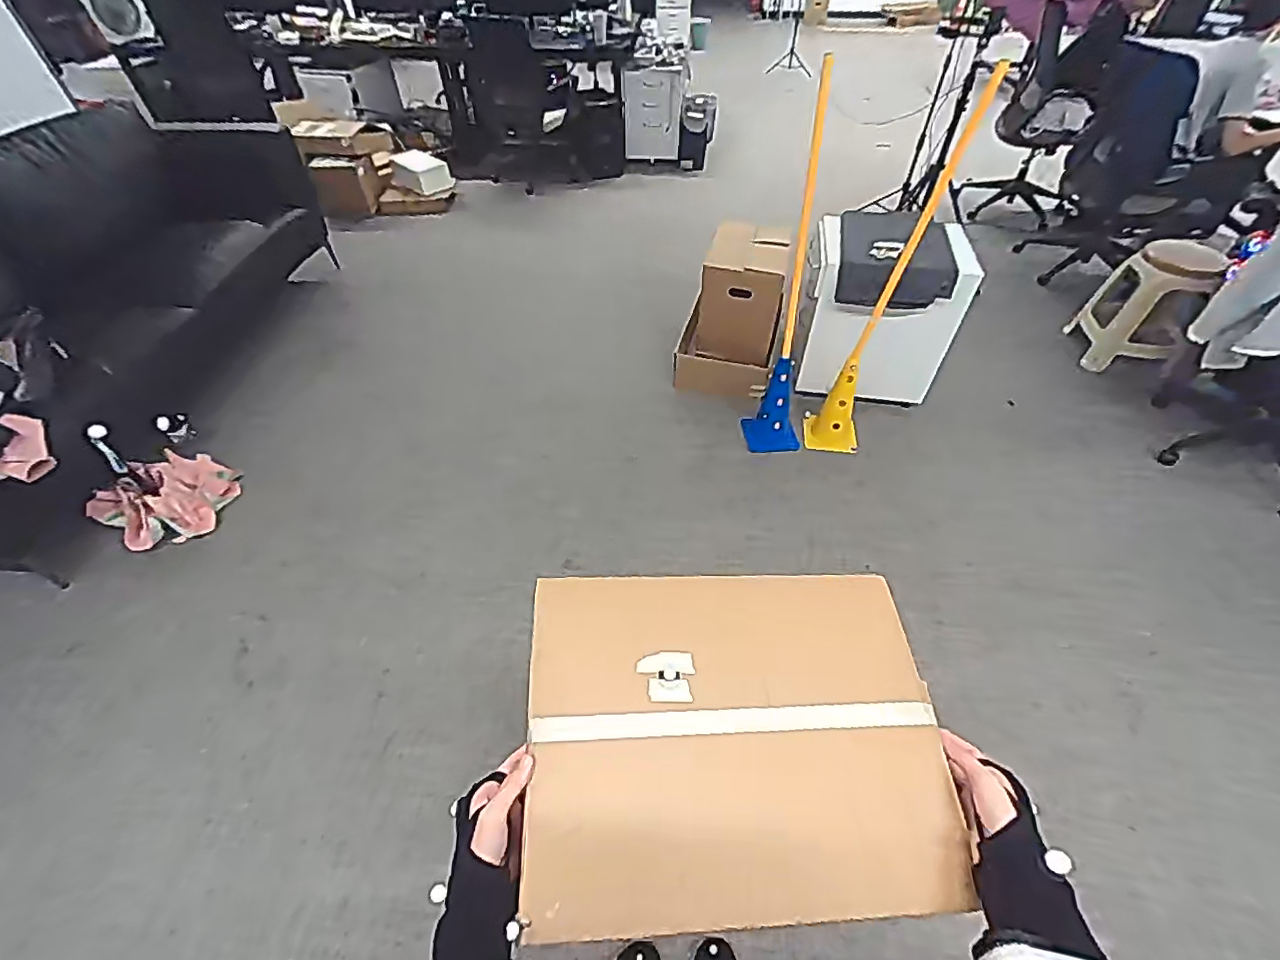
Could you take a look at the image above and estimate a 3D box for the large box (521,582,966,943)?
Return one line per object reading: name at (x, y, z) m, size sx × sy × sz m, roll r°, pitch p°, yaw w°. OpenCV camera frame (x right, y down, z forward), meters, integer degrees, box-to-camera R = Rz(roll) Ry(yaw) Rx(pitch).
large box at (0.081, 0.332, 0.670) m, size 0.408 × 0.320 × 0.320 m, roll 0°, pitch 56°, yaw -5°
